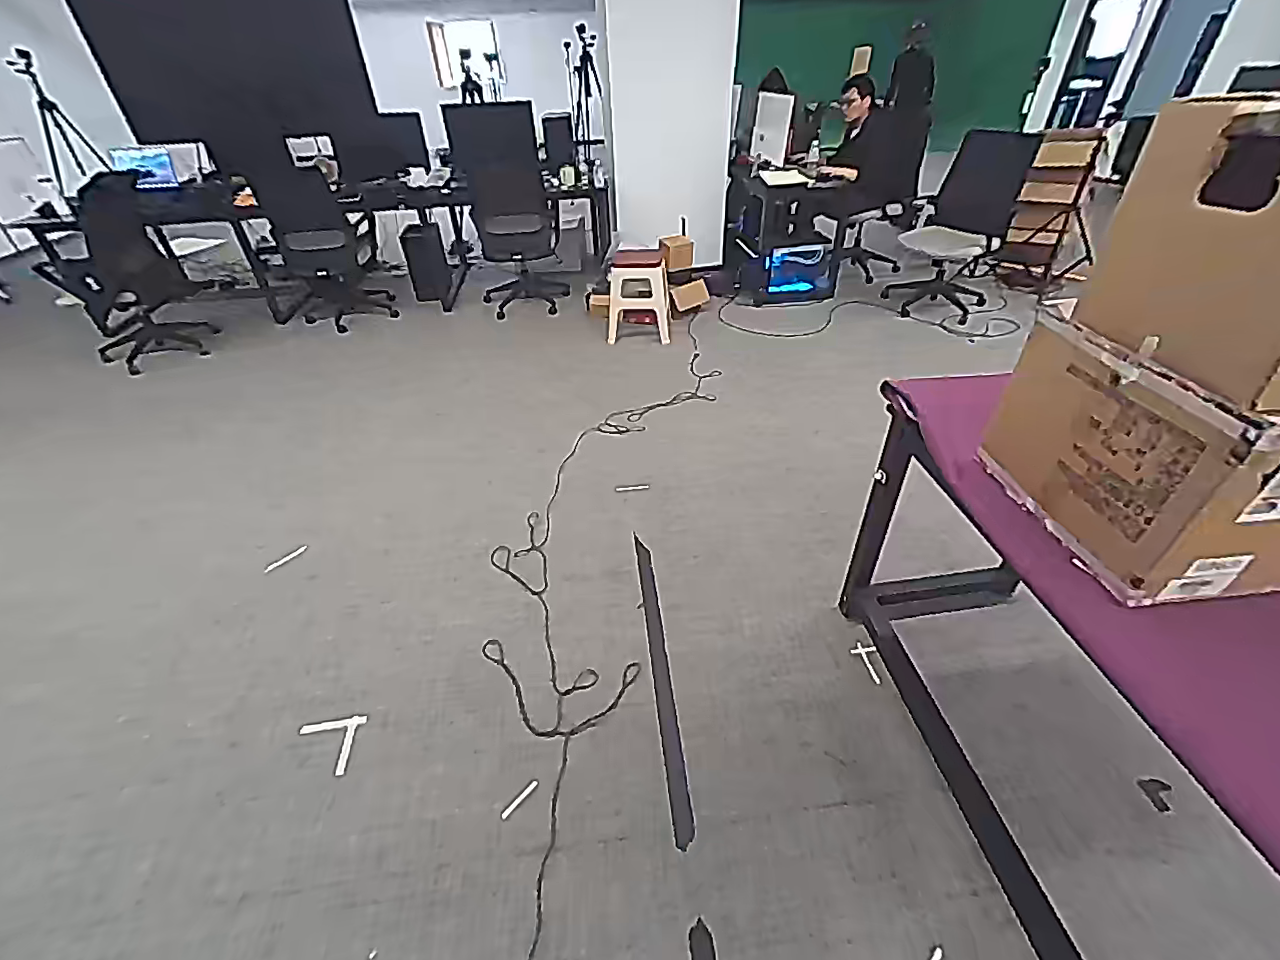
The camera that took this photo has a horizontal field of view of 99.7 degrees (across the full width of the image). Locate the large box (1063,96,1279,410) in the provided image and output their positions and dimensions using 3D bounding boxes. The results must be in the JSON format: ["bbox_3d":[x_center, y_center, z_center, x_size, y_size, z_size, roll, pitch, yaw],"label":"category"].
[{"bbox_3d":[0.893,-0.308,0.693,0.408,0.320,0.320,-5,34,-2],"label":"large box"}]
